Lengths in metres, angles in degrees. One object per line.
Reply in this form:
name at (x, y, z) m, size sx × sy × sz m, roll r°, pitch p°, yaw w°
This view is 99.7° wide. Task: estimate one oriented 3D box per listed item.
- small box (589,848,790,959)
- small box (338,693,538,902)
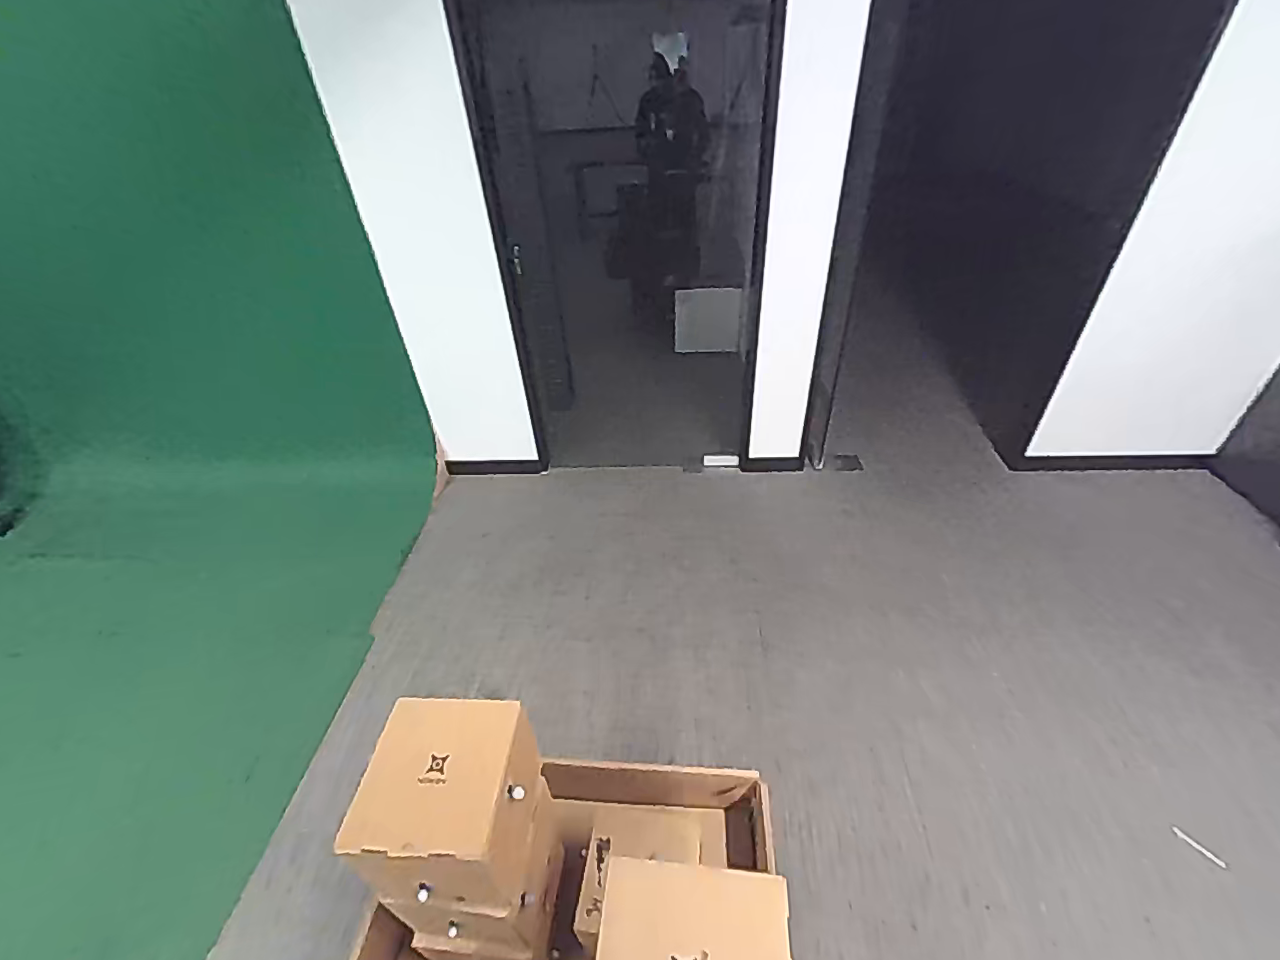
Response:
small box at (0.046, 0.483, 0.516) m, size 0.179 × 0.176 × 0.168 m, roll 3°, pitch 41°, yaw 8°
small box at (-0.232, 0.394, 0.679) m, size 0.168 × 0.176 × 0.179 m, roll 0°, pitch 39°, yaw 4°
